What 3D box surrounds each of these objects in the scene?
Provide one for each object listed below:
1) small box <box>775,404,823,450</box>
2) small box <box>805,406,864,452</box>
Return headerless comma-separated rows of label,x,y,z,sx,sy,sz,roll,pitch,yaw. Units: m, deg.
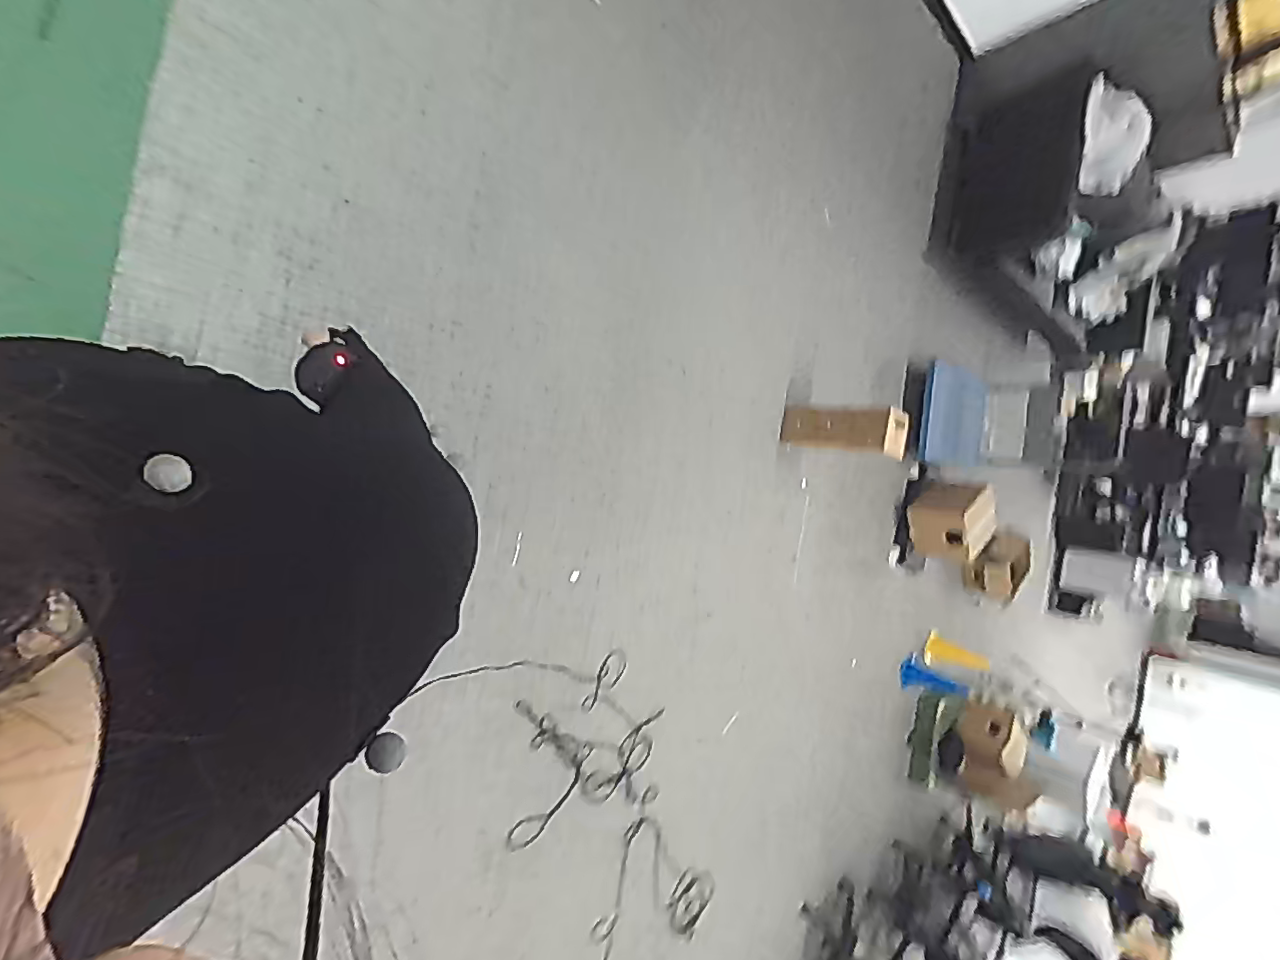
small box,0.746,-0.244,2.500,0.168,0.176,0.179,13,86,-40
small box,0.852,-0.223,2.375,0.179,0.176,0.168,13,87,-40
